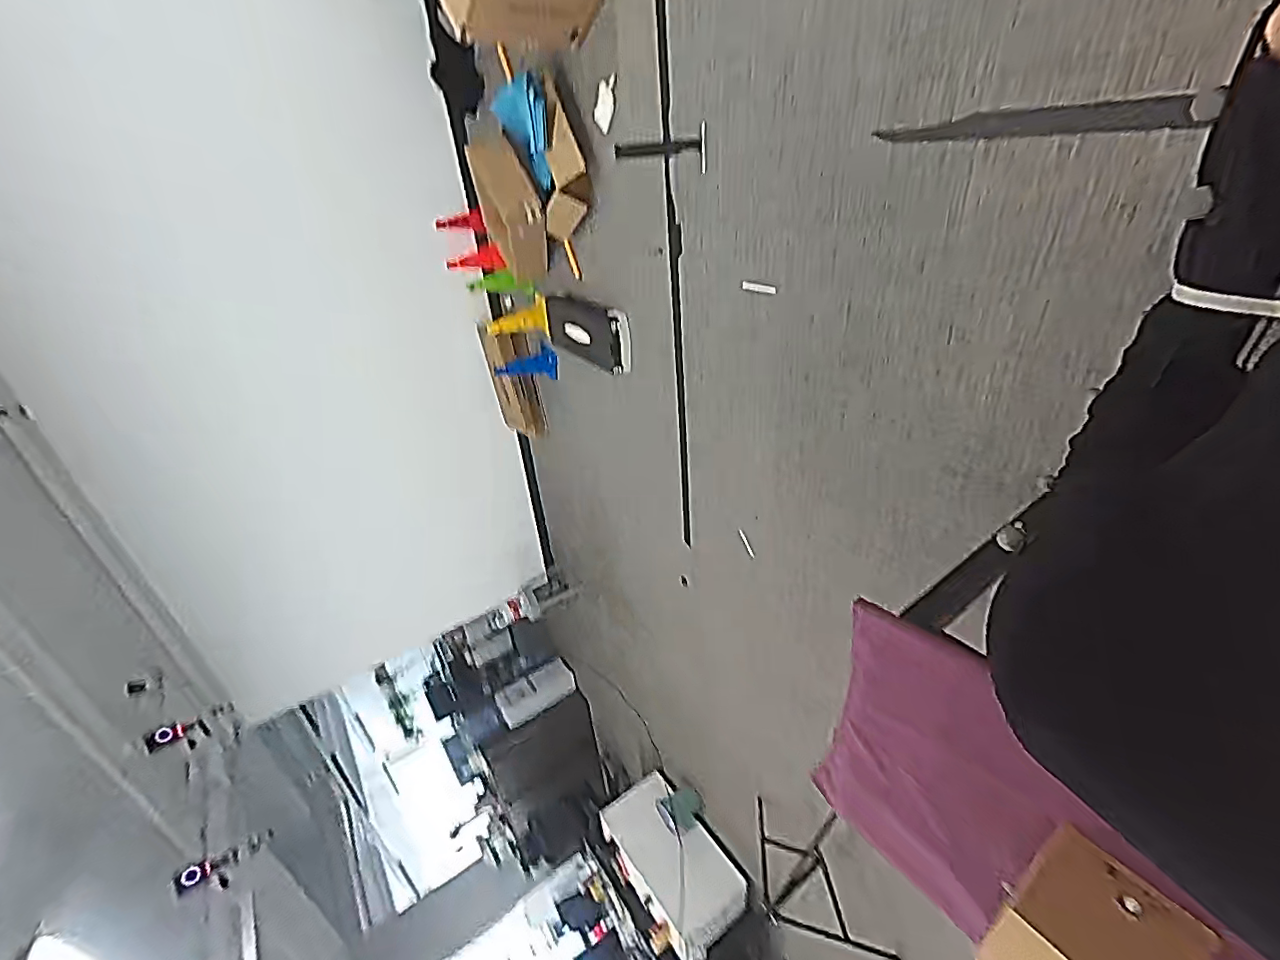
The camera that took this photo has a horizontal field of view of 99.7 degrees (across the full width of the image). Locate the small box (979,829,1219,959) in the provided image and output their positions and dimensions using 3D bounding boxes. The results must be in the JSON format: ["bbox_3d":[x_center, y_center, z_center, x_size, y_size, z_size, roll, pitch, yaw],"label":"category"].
[{"bbox_3d":[0.583,0.608,0.698,0.168,0.176,0.179,34,138,44],"label":"small box"}]
